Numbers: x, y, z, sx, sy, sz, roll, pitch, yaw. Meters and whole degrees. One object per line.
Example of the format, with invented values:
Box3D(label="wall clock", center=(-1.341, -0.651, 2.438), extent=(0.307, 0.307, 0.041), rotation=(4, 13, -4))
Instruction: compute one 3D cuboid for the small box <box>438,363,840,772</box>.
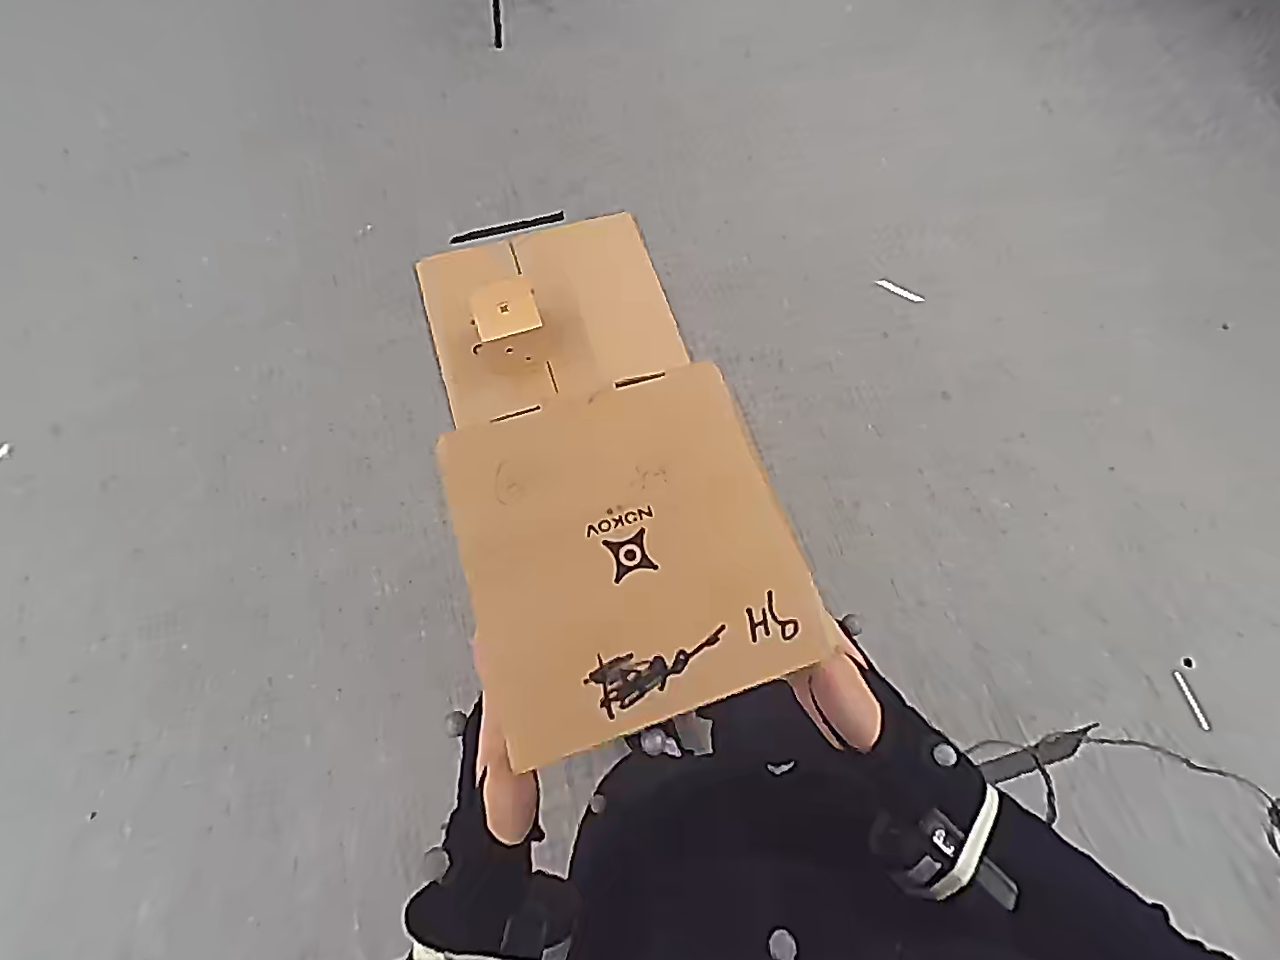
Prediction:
Box3D(label="small box", center=(-0.009, 0.059, 0.350), extent=(0.168, 0.176, 0.179), rotation=(-18, 71, -7))

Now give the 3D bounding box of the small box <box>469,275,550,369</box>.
Box3D(label="small box", center=(-0.356, -0.428, 1.503), extent=(0.168, 0.176, 0.179), rotation=(-19, 74, -8))
